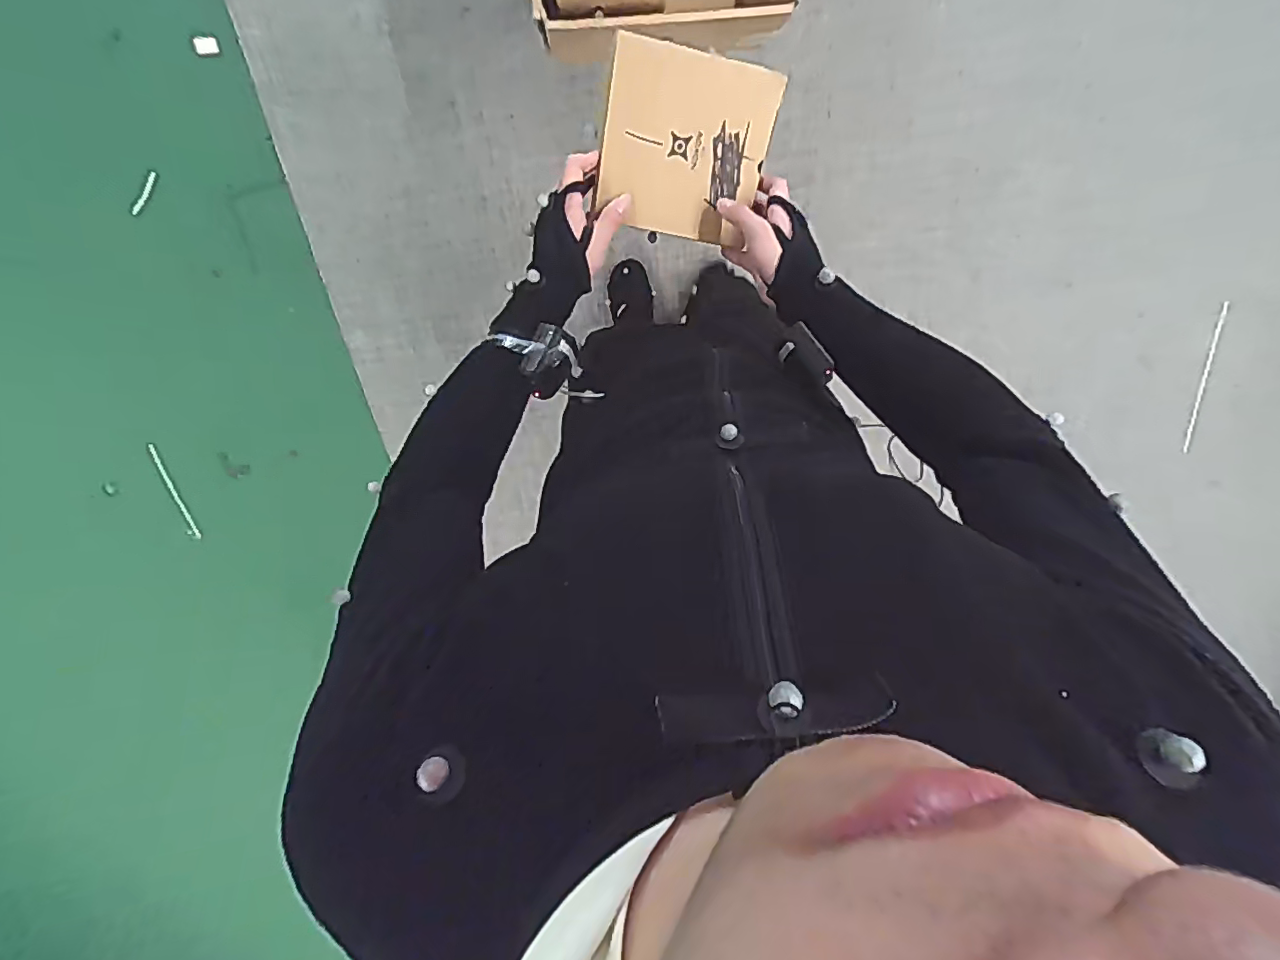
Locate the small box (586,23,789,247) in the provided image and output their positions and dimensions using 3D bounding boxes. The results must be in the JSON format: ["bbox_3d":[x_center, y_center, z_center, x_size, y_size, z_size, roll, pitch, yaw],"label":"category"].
[{"bbox_3d":[0.039,-0.381,0.621,0.179,0.176,0.168,7,117,-12],"label":"small box"}]
